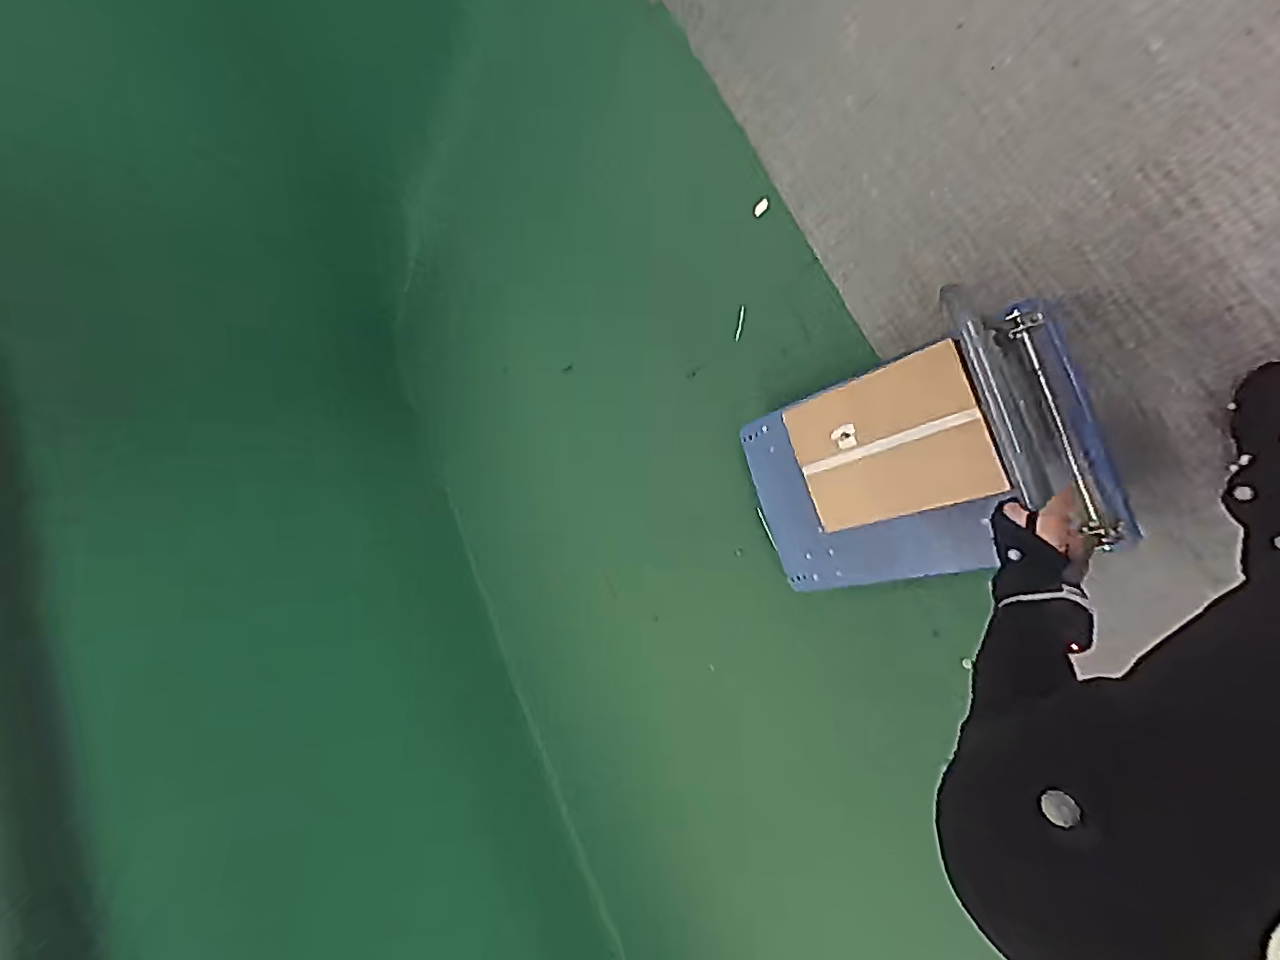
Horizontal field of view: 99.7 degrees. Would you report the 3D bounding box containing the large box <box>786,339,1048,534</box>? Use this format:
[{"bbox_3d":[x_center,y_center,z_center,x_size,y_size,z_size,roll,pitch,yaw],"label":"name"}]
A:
[{"bbox_3d":[0.631,-0.097,1.257,0.408,0.320,0.320,-25,81,47],"label":"large box"}]
